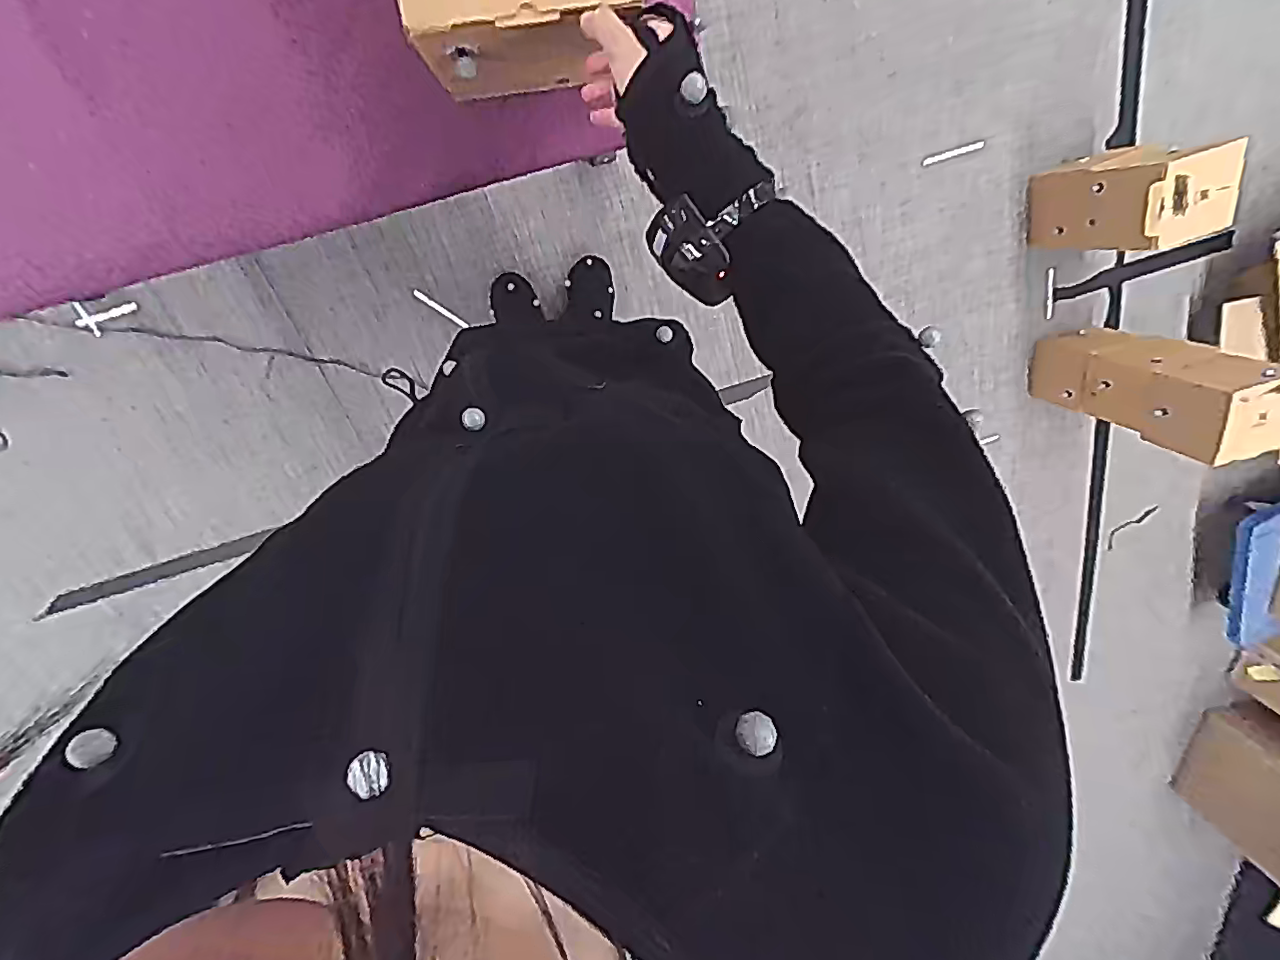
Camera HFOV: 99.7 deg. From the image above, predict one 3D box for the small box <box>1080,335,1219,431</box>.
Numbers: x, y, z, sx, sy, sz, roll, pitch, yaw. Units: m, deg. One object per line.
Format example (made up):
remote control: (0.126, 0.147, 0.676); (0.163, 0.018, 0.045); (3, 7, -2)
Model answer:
small box: (1.252, -0.248, 1.344); (0.179, 0.176, 0.168); (-18, 117, 0)

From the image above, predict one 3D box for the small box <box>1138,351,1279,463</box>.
small box: (1.271, -0.167, 1.202); (0.168, 0.176, 0.179); (-16, 118, -1)

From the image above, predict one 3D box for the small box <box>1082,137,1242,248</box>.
small box: (1.094, -0.603, 1.151); (0.179, 0.176, 0.168); (-18, 116, -2)

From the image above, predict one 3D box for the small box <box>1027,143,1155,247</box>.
small box: (1.068, -0.676, 1.296); (0.168, 0.176, 0.179); (-21, 115, 0)

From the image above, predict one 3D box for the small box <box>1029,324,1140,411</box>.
small box: (1.215, -0.313, 1.489); (0.168, 0.176, 0.179); (-14, 117, -3)
